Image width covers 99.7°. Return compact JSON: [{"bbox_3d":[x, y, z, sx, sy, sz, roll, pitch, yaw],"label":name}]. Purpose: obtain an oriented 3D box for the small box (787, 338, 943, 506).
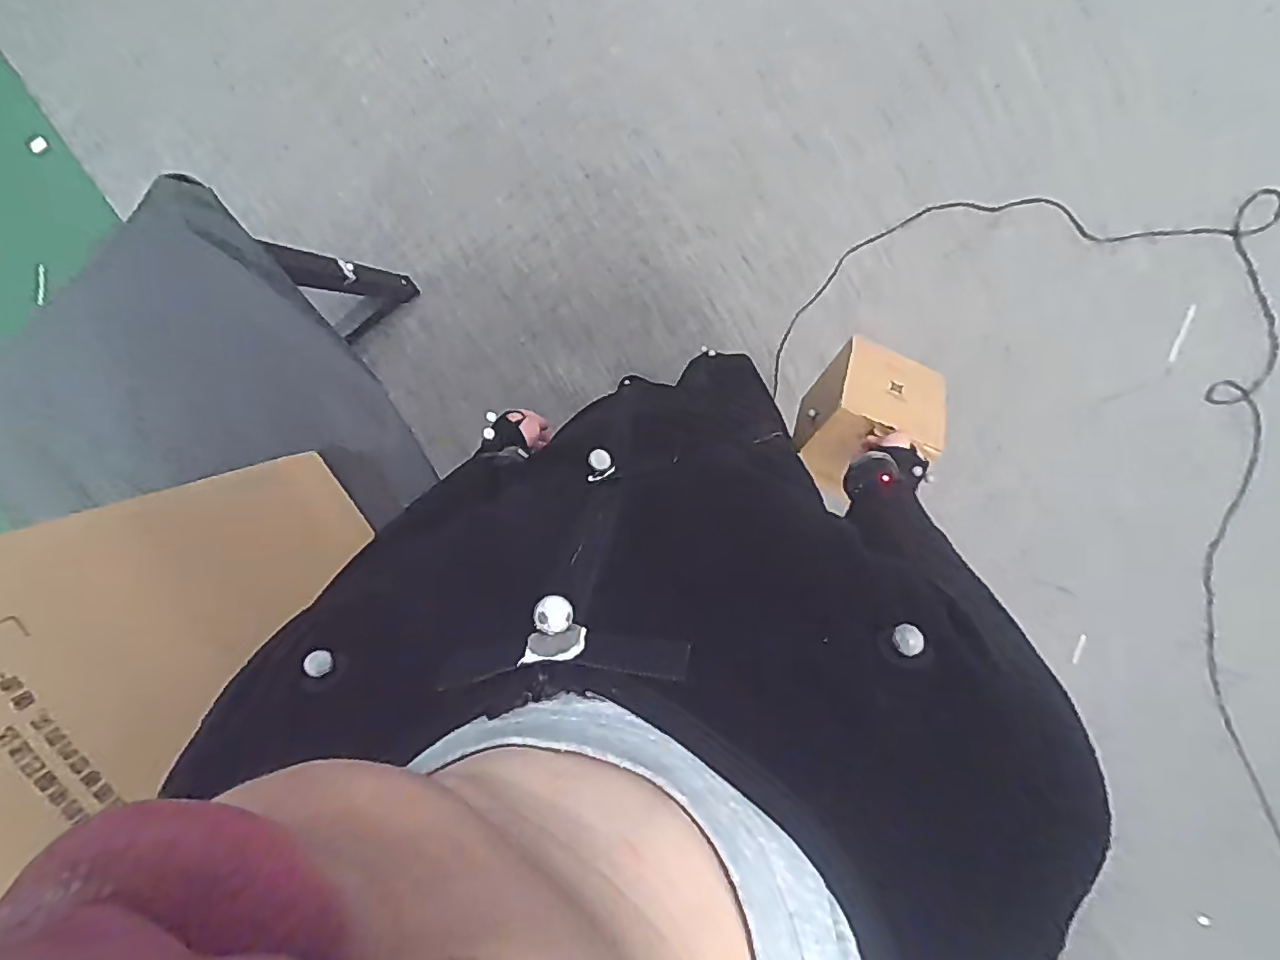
[{"bbox_3d":[0.359,-0.087,0.878,0.168,0.179,0.176,26,144,-2],"label":"small box"}]
